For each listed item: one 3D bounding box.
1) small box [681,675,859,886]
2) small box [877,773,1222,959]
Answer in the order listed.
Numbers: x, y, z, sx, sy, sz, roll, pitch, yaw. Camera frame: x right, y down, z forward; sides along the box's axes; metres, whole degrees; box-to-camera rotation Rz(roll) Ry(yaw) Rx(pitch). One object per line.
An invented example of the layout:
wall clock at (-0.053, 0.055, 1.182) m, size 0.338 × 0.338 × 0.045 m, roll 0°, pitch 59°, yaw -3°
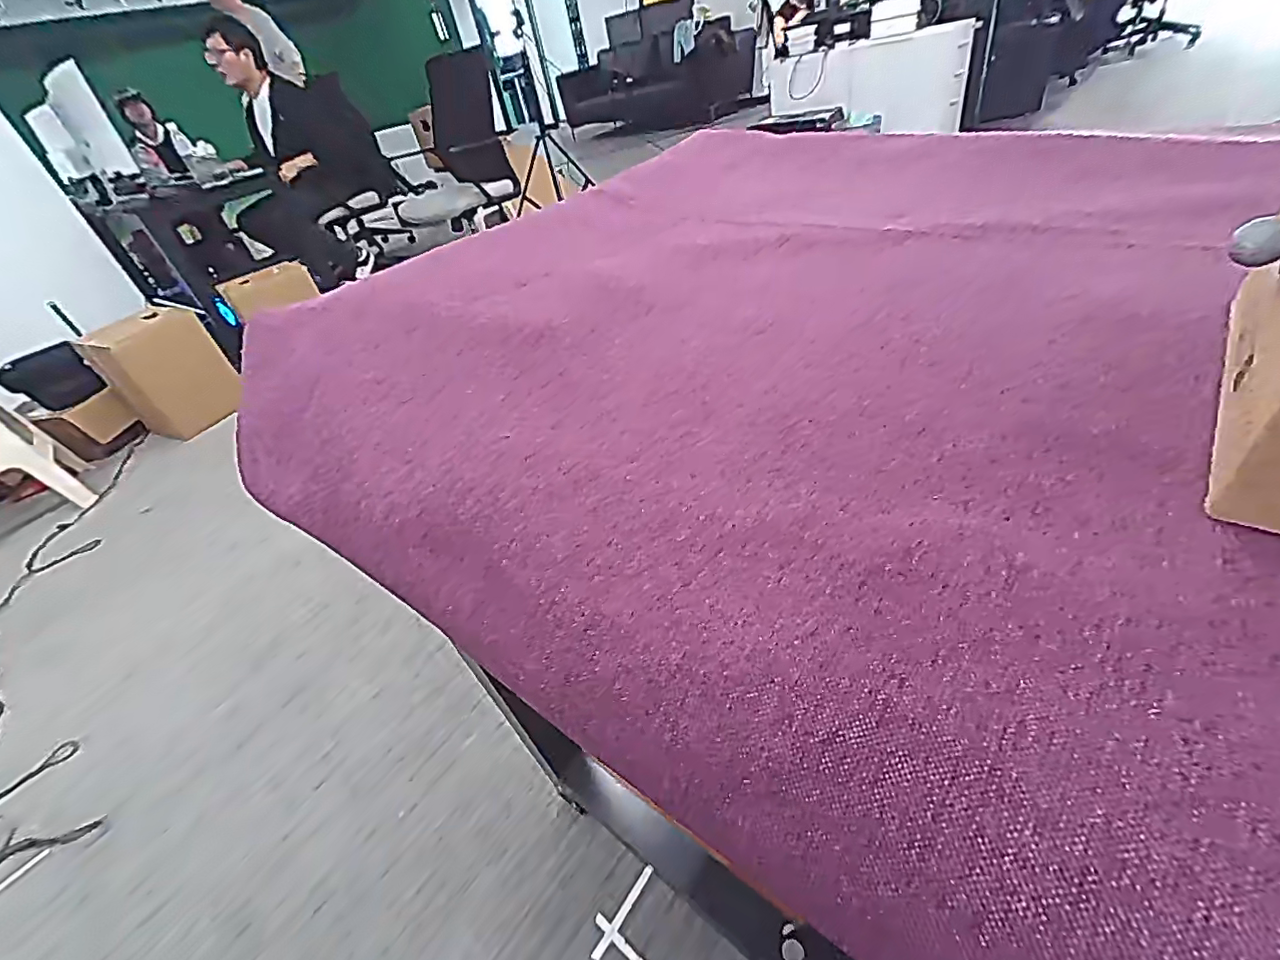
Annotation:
small box at (0.179, 0.403, 0.725) m, size 0.179 × 0.176 × 0.168 m, roll 13°, pitch 45°, yaw 31°
small box at (0.322, 0.404, 0.457) m, size 0.168 × 0.176 × 0.179 m, roll -36°, pitch 43°, yaw -29°
